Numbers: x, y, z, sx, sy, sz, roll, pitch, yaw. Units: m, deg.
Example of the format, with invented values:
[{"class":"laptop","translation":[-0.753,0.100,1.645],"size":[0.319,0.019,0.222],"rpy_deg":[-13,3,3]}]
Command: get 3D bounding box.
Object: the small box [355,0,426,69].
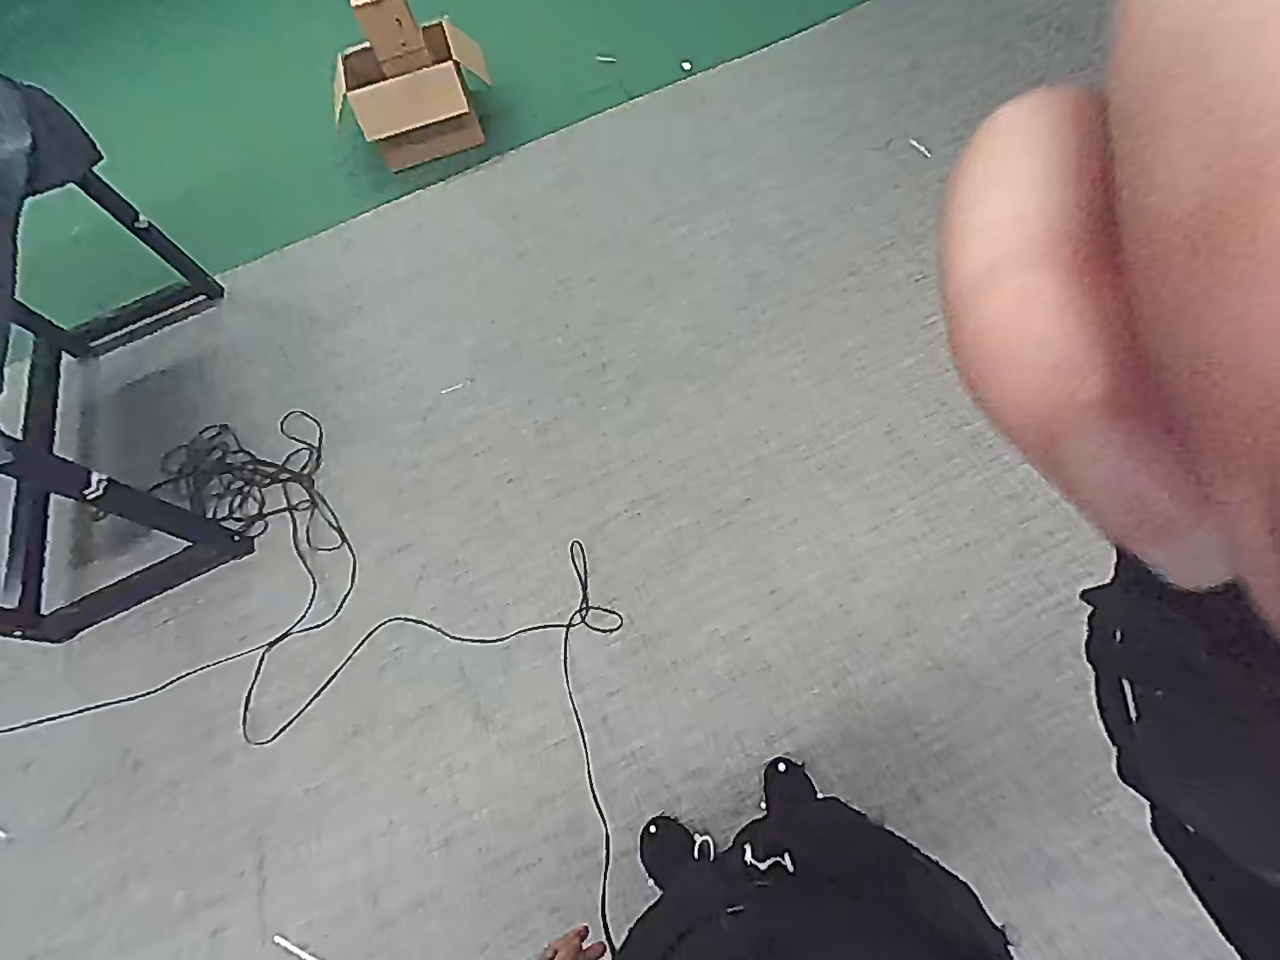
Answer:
[{"class":"small box","translation":[-0.870,-1.586,1.898],"size":[0.168,0.176,0.179],"rpy_deg":[-20,63,-2]}]
